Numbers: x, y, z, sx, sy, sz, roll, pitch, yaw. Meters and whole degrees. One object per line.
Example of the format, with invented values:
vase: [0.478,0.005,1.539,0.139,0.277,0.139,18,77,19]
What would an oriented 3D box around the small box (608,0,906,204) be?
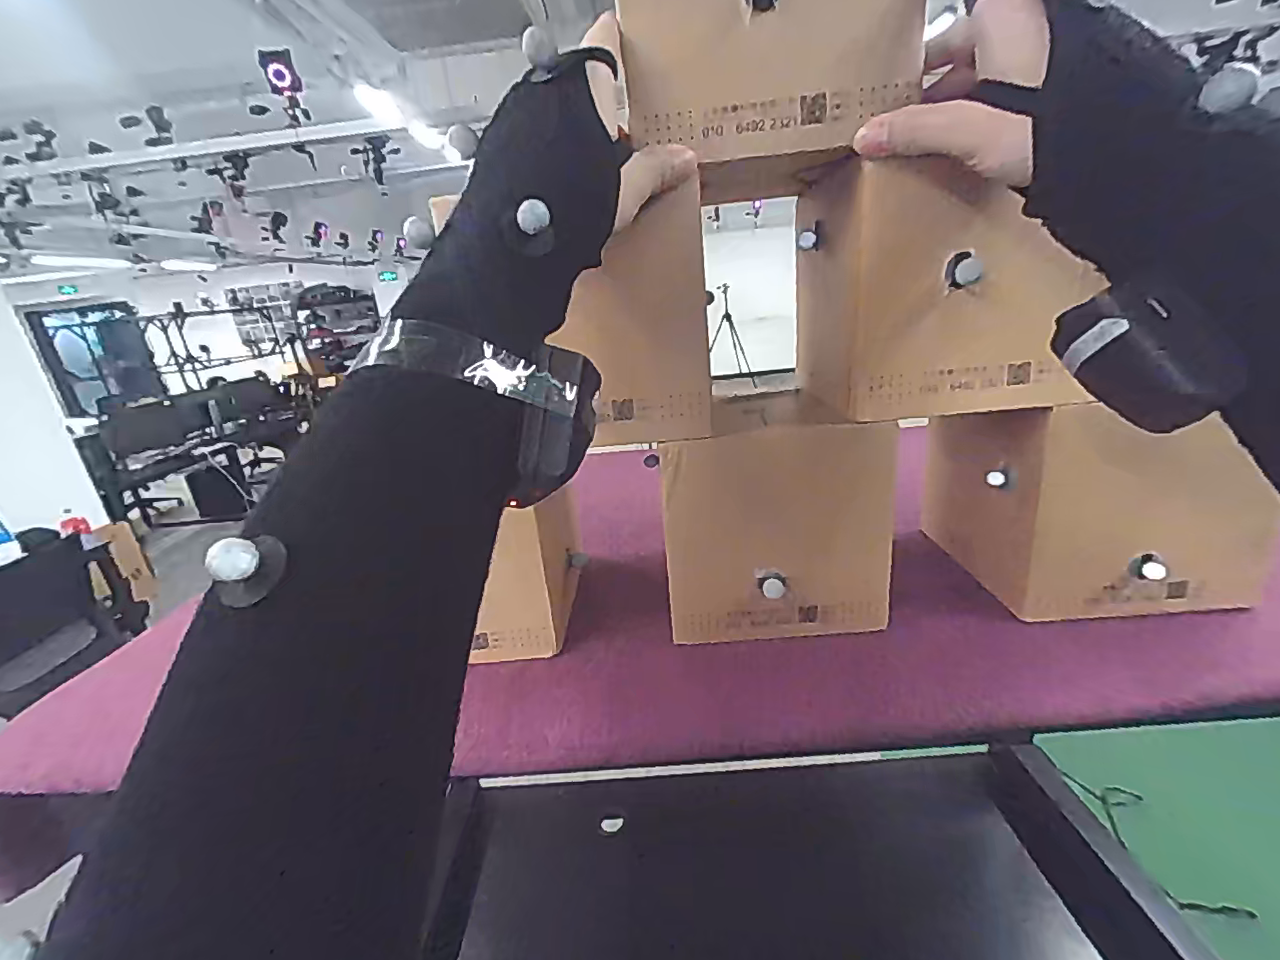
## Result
small box: [0.066,-0.294,0.363,0.168,0.176,0.179,-5,19,3]

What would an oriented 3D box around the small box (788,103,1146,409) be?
small box: [0.215,-0.150,0.410,0.168,0.176,0.179,-5,18,4]

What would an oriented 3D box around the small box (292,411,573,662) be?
small box: [-0.156,0.035,0.477,0.168,0.176,0.179,-6,18,2]

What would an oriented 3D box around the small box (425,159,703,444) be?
small box: [-0.041,-0.131,0.425,0.168,0.176,0.179,-5,19,4]

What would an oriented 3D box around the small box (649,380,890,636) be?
small box: [0.096,0.014,0.470,0.168,0.176,0.179,-5,19,3]
